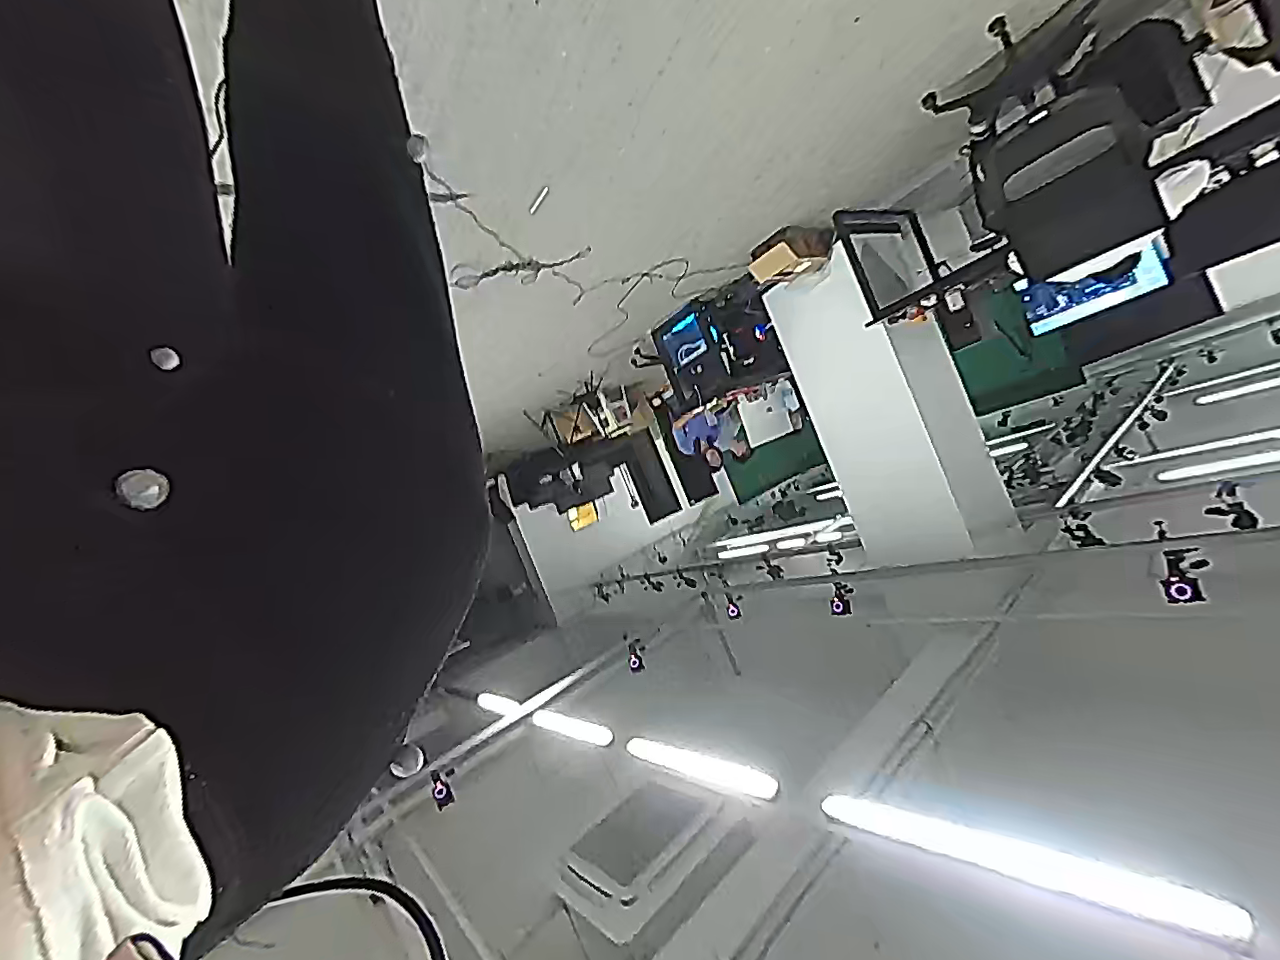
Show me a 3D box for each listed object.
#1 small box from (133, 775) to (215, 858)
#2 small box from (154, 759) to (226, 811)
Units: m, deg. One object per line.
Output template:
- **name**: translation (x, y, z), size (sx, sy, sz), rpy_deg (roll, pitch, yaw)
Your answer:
- **small box**: translation (-1.585, 1.133, 1.839), size (0.179, 0.176, 0.168), rpy_deg (-23, -179, 45)
- **small box**: translation (-1.686, 1.175, 2.022), size (0.168, 0.176, 0.179), rpy_deg (-23, 179, -44)
